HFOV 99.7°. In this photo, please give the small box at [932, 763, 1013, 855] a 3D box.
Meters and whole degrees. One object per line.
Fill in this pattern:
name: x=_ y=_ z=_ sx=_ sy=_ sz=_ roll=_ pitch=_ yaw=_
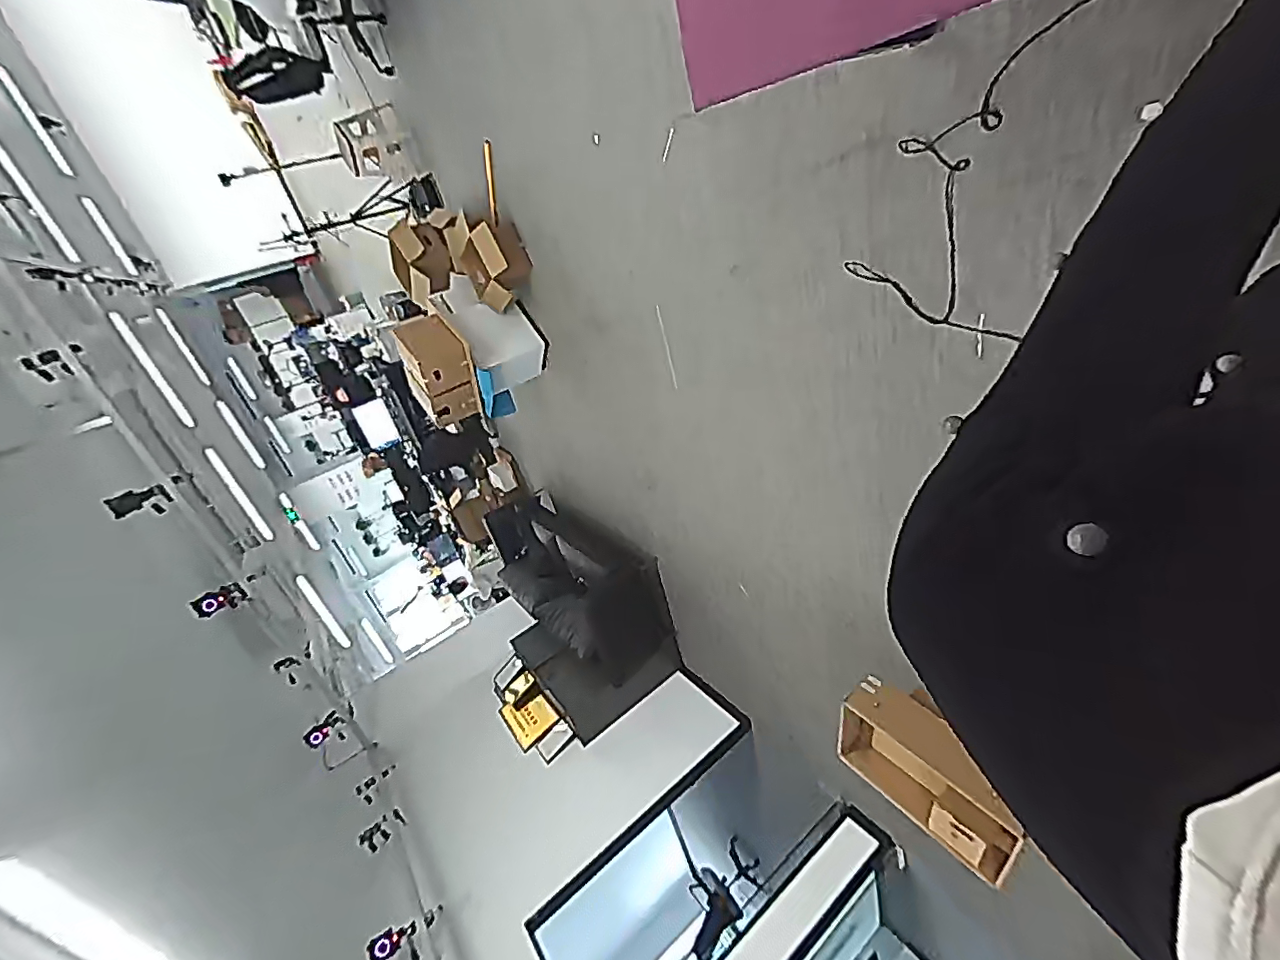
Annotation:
small box: x=1.122 y=1.101 z=1.824 sx=0.168 sy=0.176 sz=0.179 roll=32 pitch=145 yaw=46
